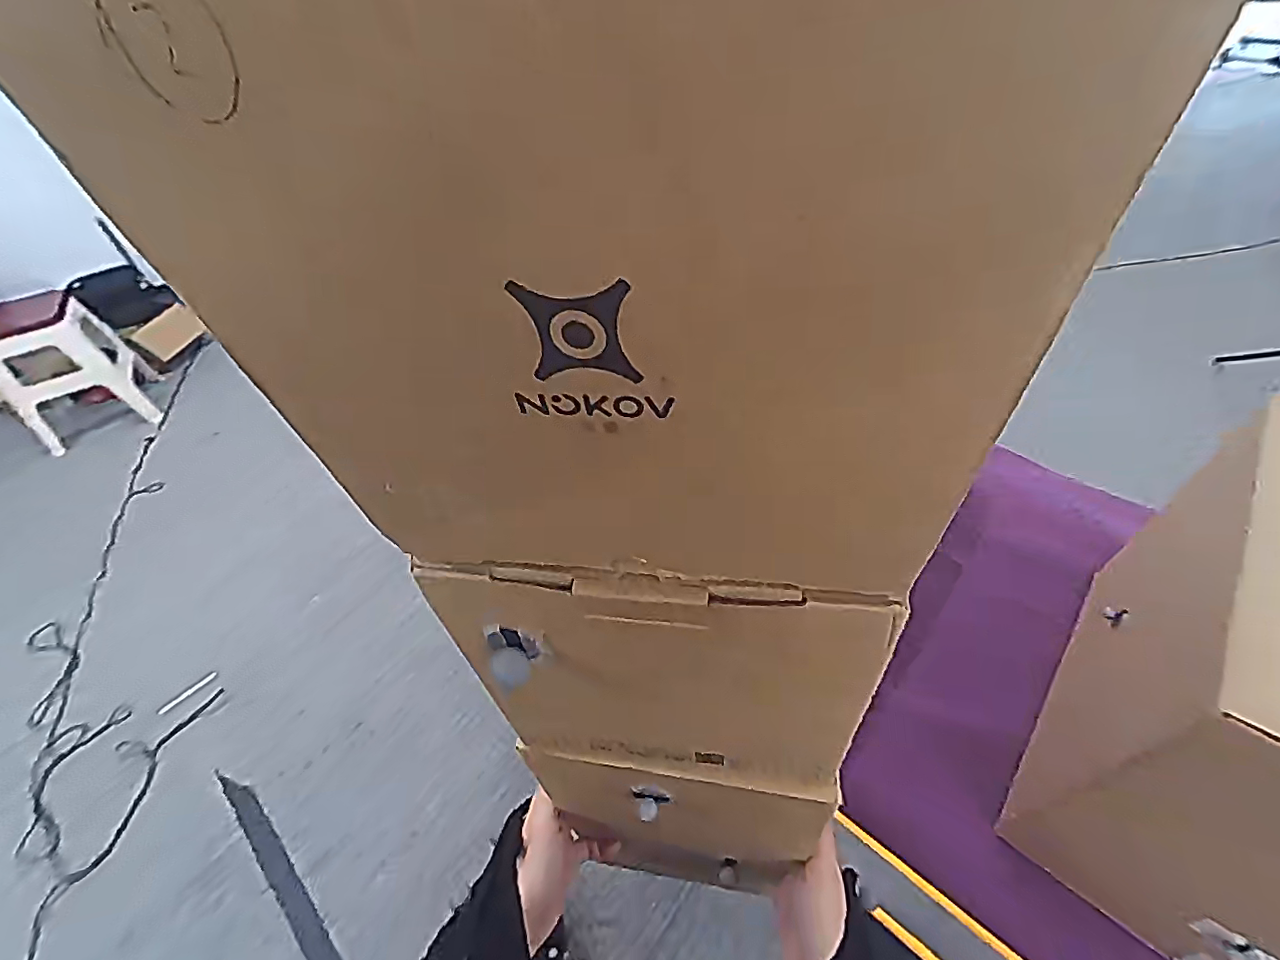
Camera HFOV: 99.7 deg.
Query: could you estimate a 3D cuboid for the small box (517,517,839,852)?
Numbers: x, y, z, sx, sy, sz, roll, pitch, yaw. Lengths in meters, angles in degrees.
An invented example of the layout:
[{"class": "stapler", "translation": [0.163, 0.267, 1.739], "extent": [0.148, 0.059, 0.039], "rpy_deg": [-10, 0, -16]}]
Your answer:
[{"class": "small box", "translation": [0.036, 0.148, 0.394], "extent": [0.179, 0.176, 0.168], "rpy_deg": [4, 46, 10]}]
